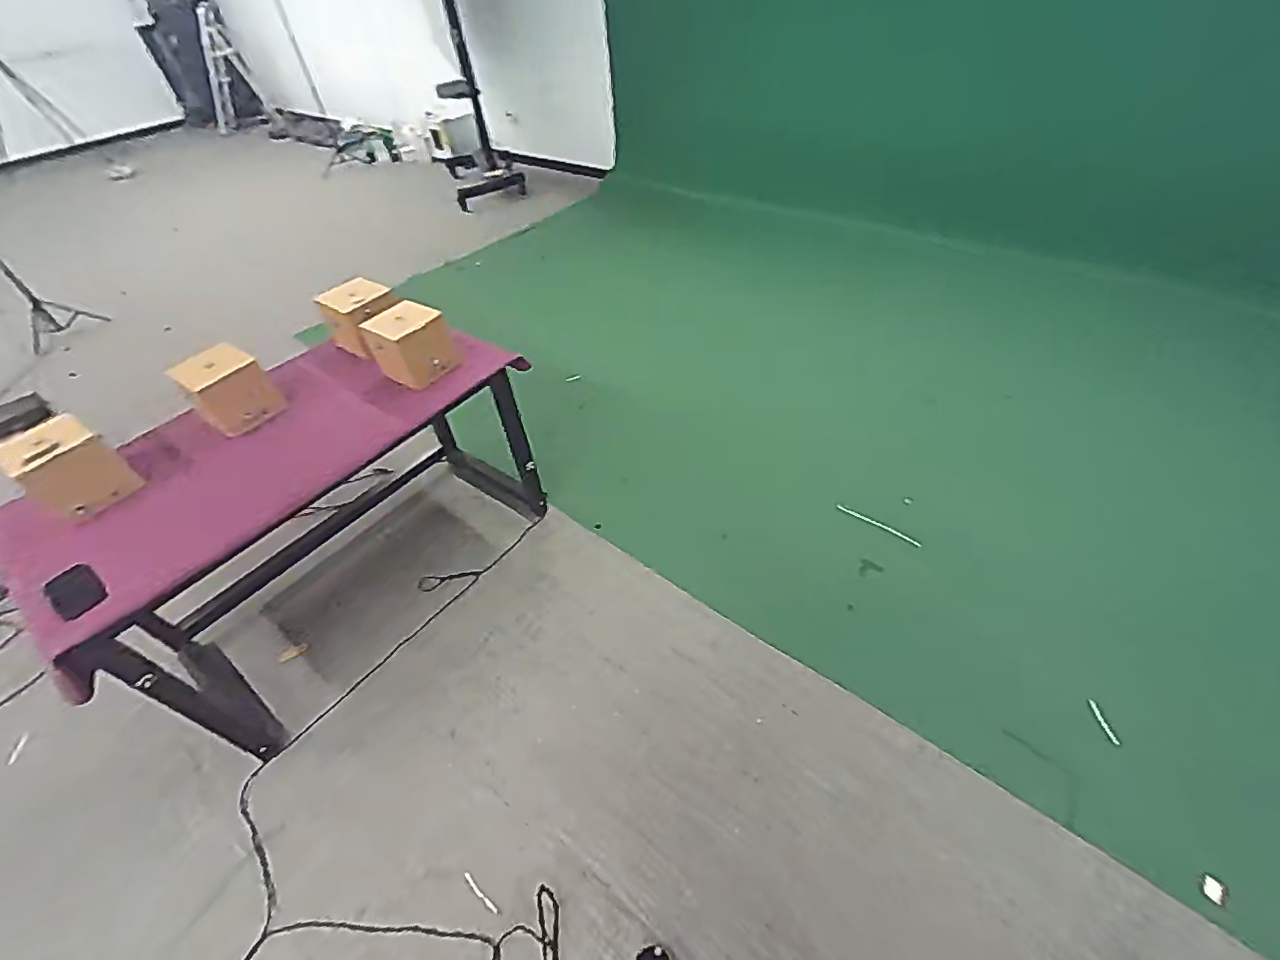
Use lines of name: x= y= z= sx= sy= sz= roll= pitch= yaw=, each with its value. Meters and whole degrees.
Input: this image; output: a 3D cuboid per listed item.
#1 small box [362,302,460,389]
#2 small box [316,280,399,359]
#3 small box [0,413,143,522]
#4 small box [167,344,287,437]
small box: x=-0.660 y=-0.389 z=1.572 sx=0.179 sy=0.176 sz=0.168 roll=25 pitch=55 yaw=28
small box: x=-0.869 y=-0.504 z=1.708 sx=0.179 sy=0.176 sz=0.168 roll=25 pitch=54 yaw=27
small box: x=-1.355 y=-0.026 z=1.290 sx=0.179 sy=0.176 sz=0.168 roll=23 pitch=52 yaw=26
small box: x=-1.122 y=-0.243 z=1.481 sx=0.179 sy=0.176 sz=0.168 roll=25 pitch=54 yaw=25
